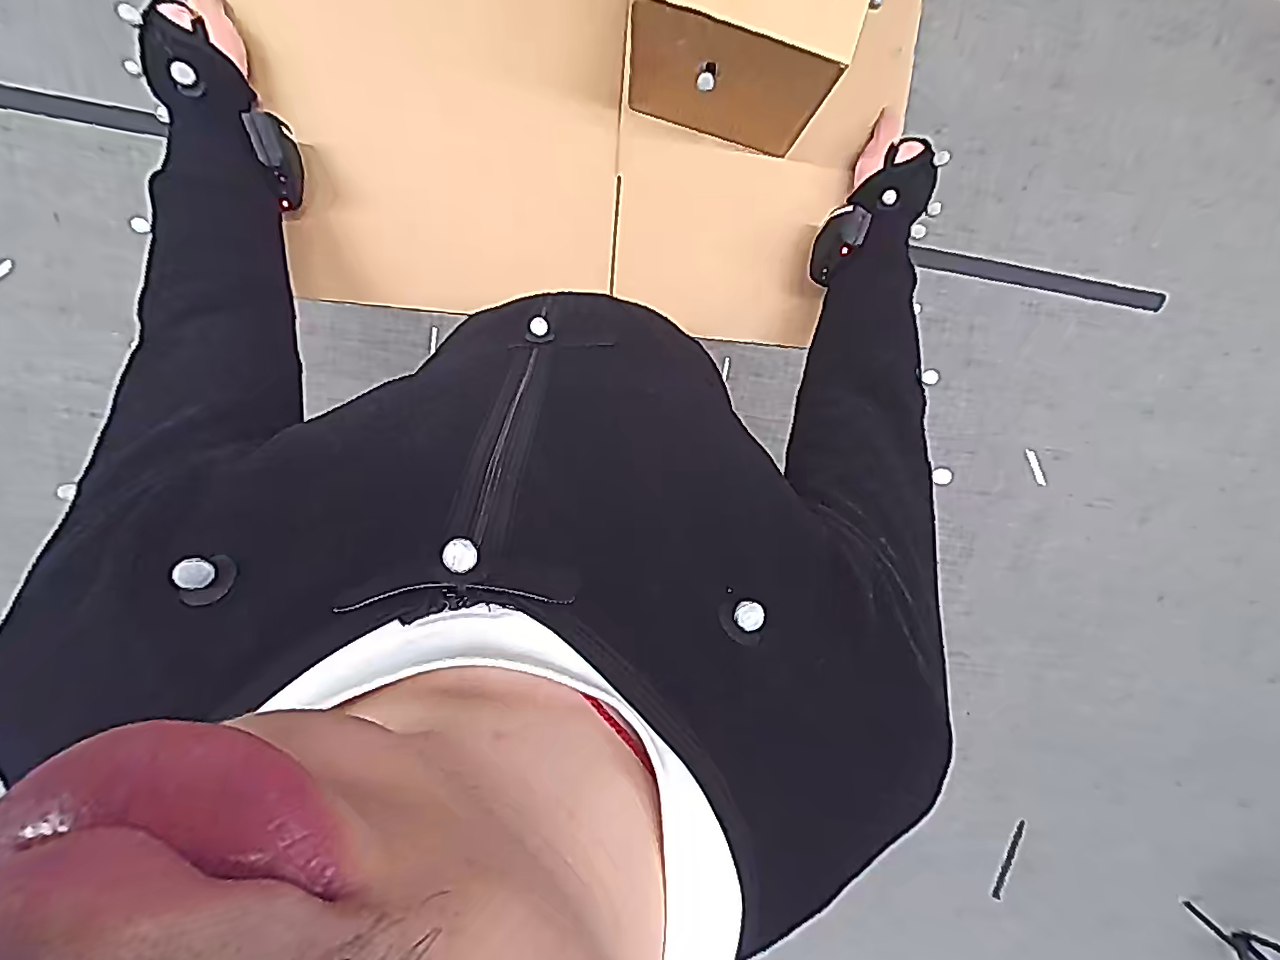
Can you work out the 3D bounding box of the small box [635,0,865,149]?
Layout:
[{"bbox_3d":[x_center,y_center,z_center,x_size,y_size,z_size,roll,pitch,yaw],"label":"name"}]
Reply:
[{"bbox_3d":[0.097,-0.432,0.482,0.179,0.176,0.168,15,98,-4],"label":"small box"}]
